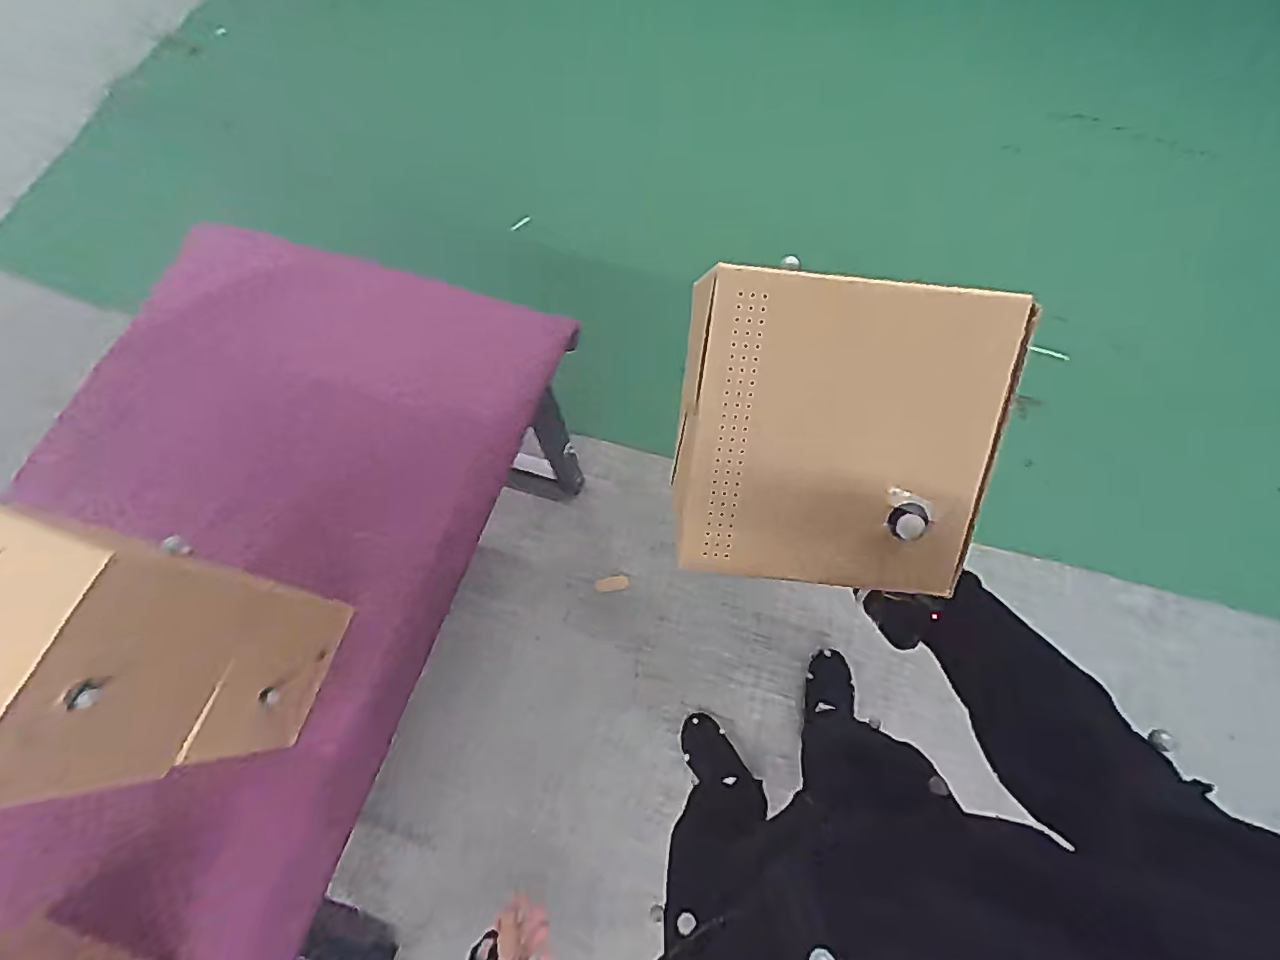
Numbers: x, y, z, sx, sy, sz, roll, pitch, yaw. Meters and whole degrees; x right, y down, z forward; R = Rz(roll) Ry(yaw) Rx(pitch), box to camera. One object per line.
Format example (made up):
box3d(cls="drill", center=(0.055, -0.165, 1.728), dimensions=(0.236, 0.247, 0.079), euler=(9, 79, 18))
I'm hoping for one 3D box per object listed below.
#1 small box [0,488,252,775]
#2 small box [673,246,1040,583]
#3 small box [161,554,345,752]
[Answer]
box3d(cls="small box", center=(-0.474, 0.122, 0.440), dimensions=(0.168, 0.176, 0.179), euler=(17, 71, 8))
box3d(cls="small box", center=(0.117, -0.050, 0.376), dimensions=(0.176, 0.168, 0.179), euler=(6, 106, -1))
box3d(cls="small box", center=(-0.470, 0.176, 0.595), dimensions=(0.179, 0.176, 0.168), euler=(14, 72, 8))
